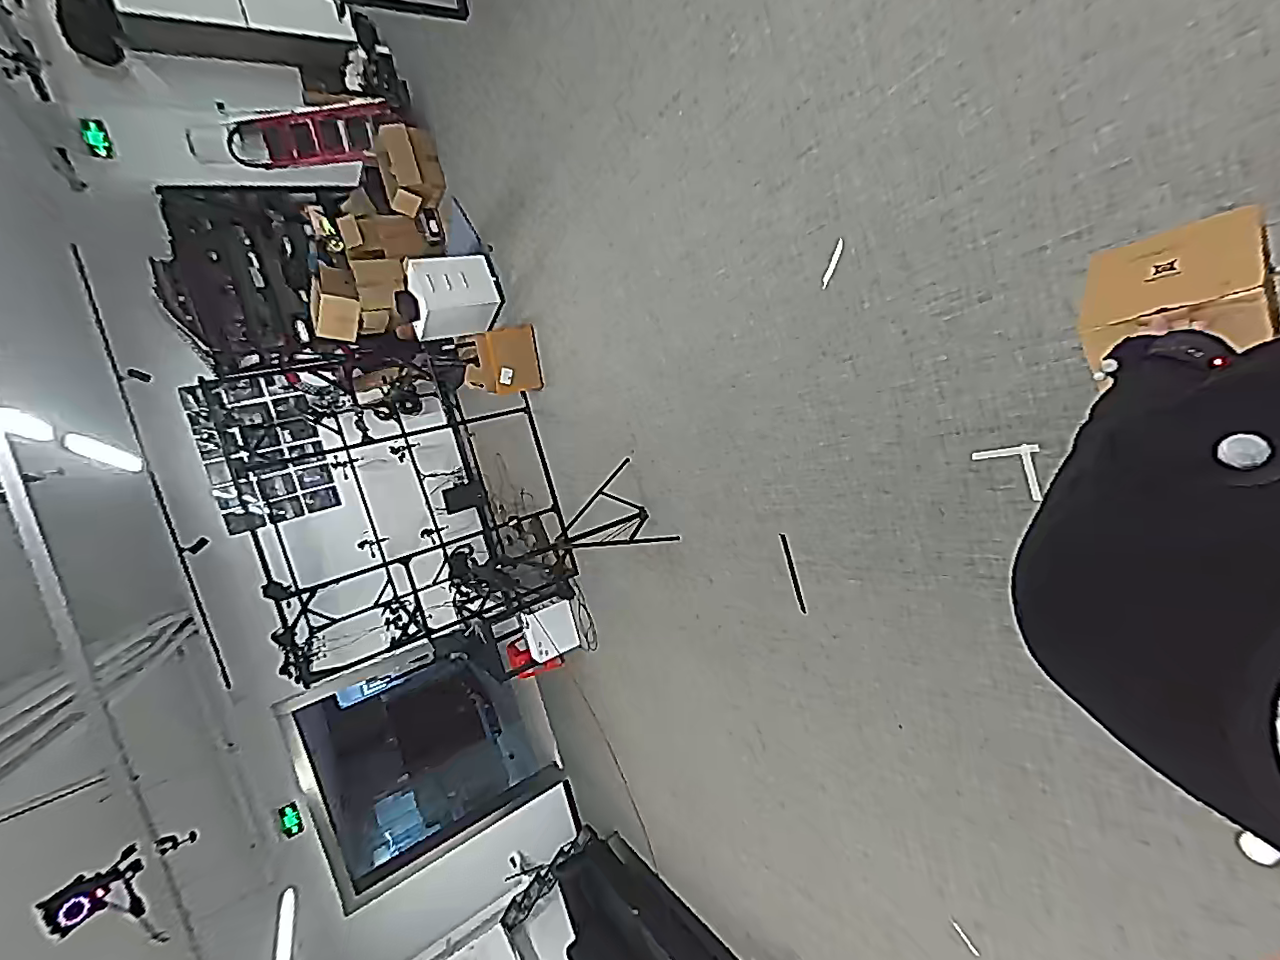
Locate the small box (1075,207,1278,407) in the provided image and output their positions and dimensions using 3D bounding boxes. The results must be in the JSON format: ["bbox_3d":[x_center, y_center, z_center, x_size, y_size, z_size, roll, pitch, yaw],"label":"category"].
[{"bbox_3d":[0.717,-0.214,0.724,0.168,0.179,0.176,-7,132,51],"label":"small box"}]
